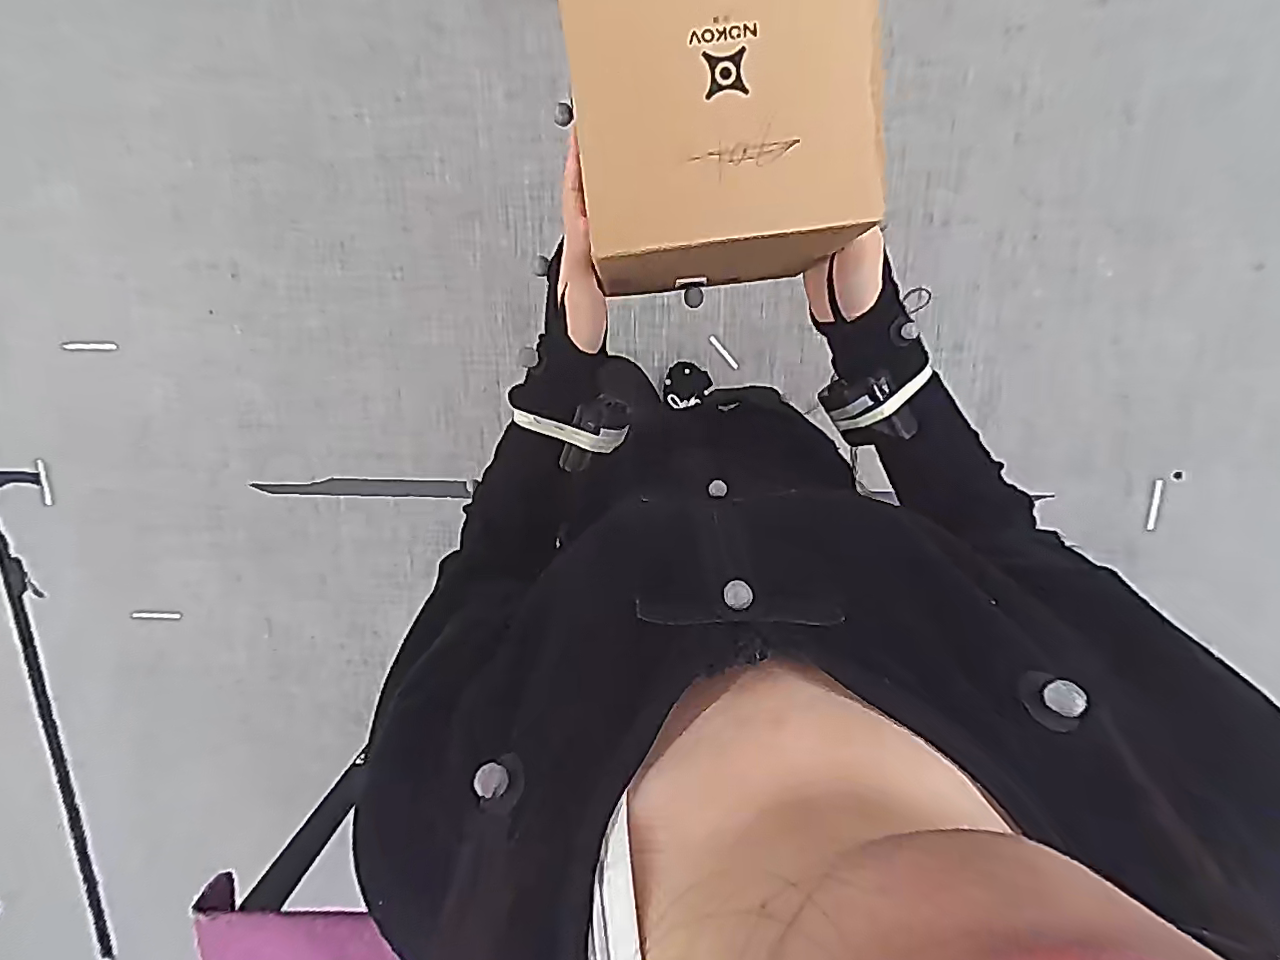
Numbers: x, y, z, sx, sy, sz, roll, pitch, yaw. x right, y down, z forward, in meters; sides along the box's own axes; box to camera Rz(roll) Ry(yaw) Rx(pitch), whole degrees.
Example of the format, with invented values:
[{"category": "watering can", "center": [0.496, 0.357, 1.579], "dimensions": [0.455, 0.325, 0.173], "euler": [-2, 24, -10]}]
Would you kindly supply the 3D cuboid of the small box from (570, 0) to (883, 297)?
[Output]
[{"category": "small box", "center": [0.045, -0.234, 0.367], "dimensions": [0.168, 0.176, 0.179], "euler": [-7, 101, 0]}]
